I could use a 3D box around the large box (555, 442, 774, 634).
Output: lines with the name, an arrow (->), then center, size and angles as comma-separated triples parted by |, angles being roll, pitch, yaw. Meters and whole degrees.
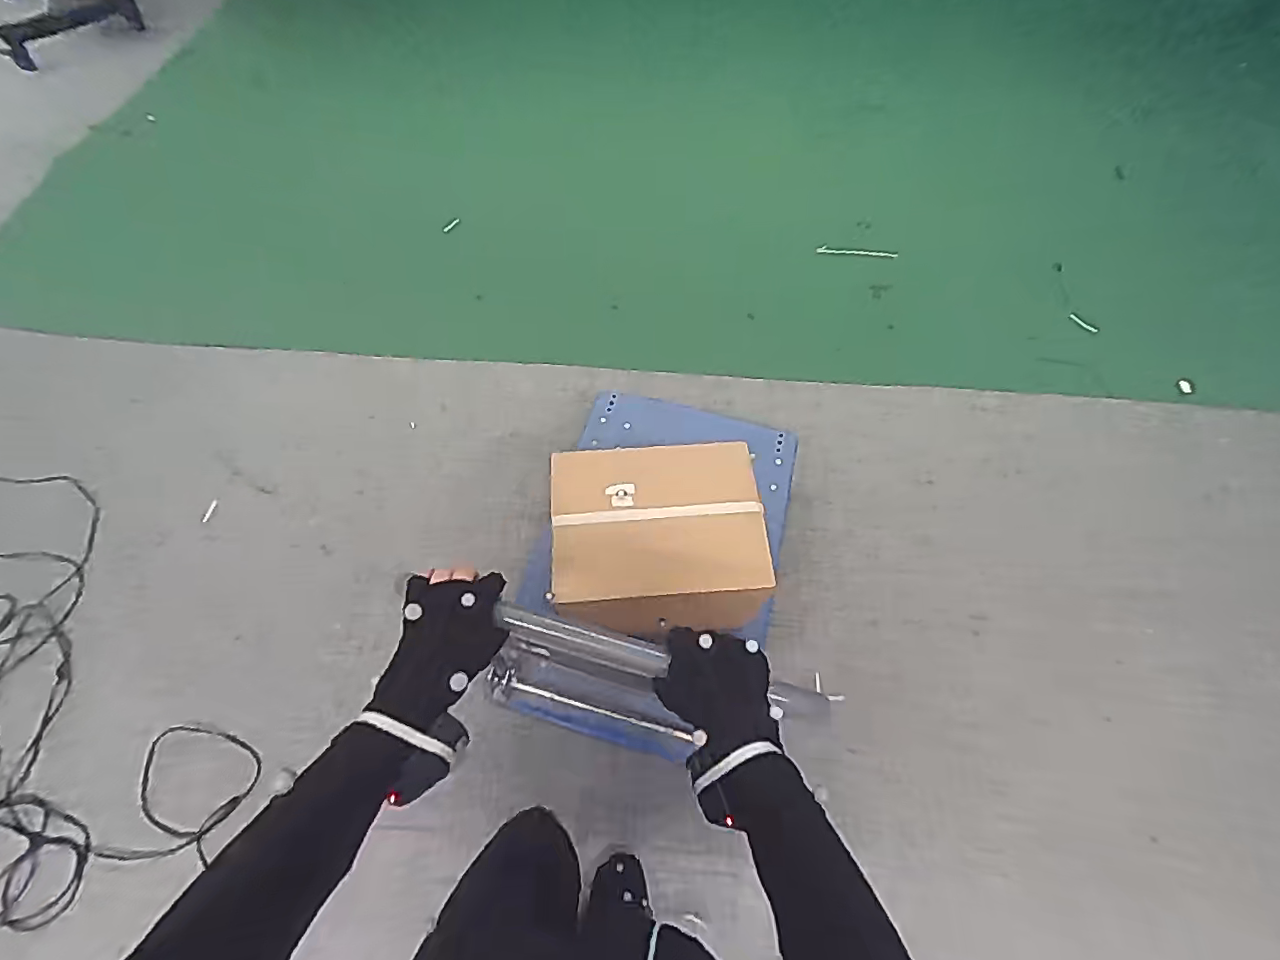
large box -> 0.037, 0.138, 1.174 | 0.408, 0.320, 0.320 | -3, 61, -2
